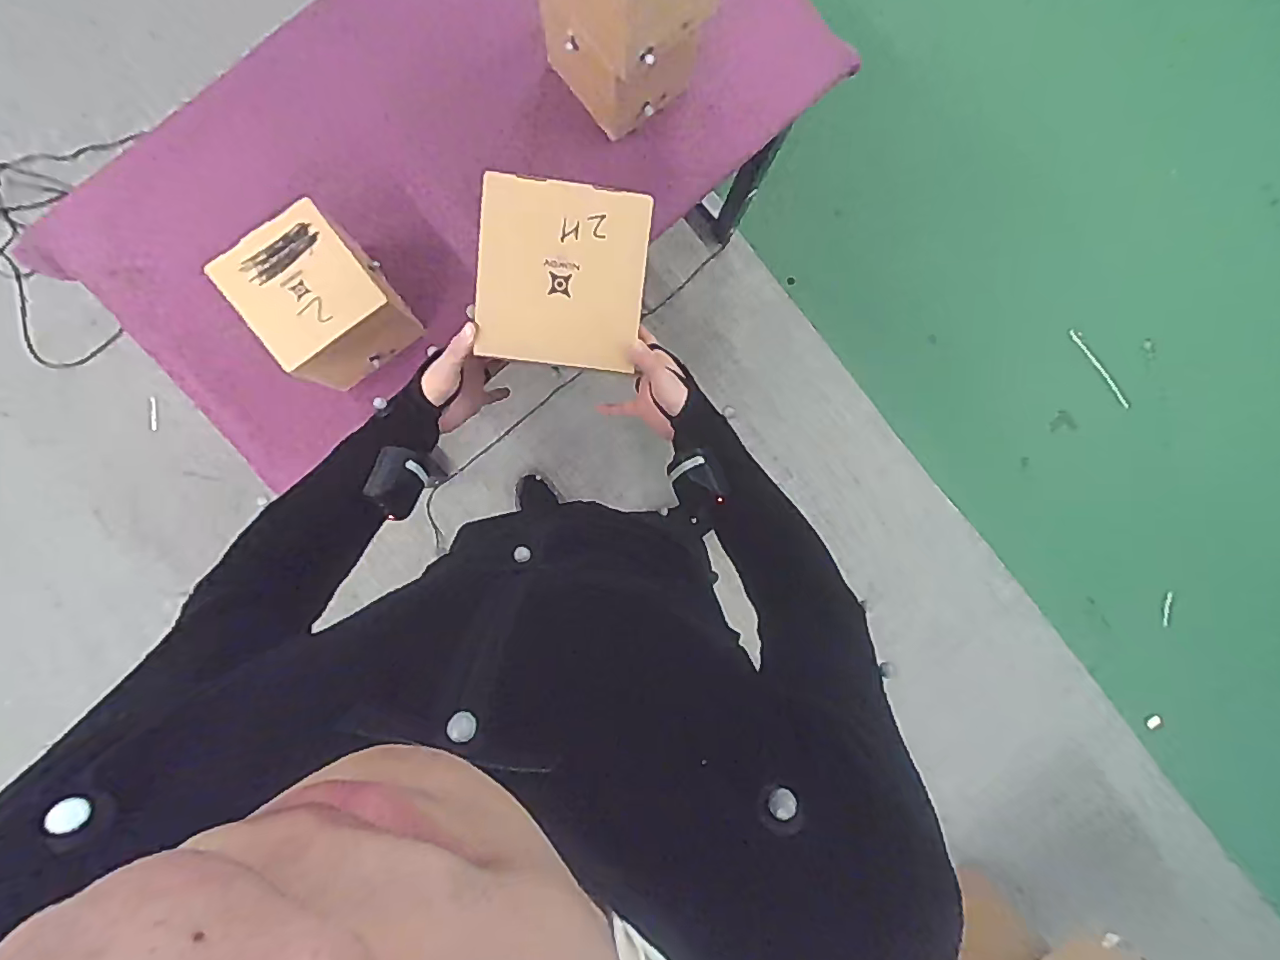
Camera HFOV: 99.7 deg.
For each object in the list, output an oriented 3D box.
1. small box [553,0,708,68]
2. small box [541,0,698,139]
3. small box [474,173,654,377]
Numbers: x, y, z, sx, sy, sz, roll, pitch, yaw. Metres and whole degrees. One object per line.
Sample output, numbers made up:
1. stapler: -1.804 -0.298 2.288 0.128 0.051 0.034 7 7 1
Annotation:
1. small box: -0.016 -0.657 0.659 0.168 0.176 0.179 -41 92 -1
2. small box: -0.036 -0.676 0.822 0.168 0.176 0.179 -39 93 -1
3. small box: -0.081 -0.215 0.618 0.168 0.176 0.179 7 99 -5
